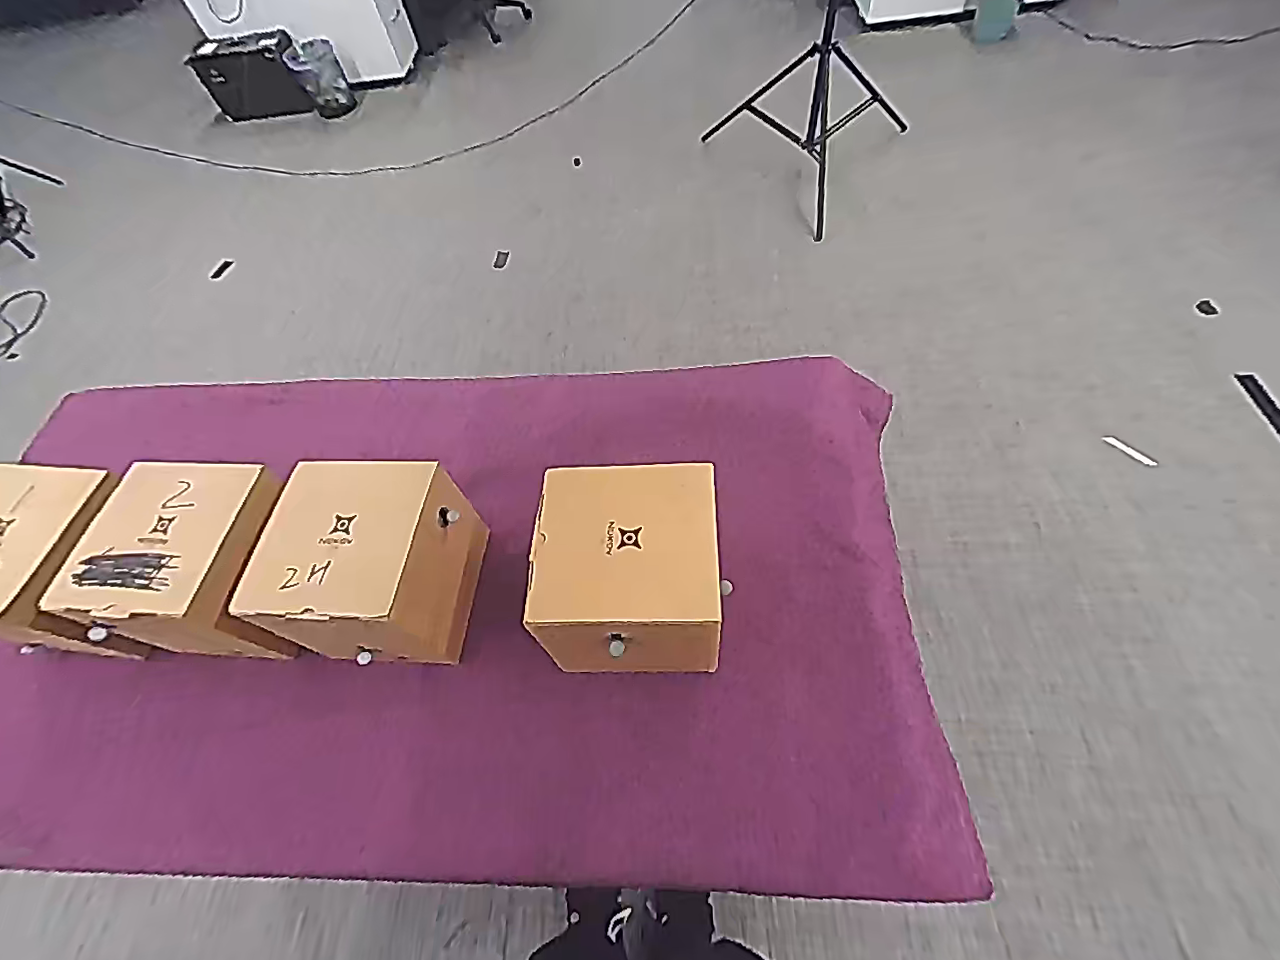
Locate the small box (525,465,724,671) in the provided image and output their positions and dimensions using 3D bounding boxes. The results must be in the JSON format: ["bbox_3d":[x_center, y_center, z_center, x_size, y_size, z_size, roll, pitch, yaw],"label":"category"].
[{"bbox_3d":[-0.005,0.100,0.577,0.179,0.176,0.168,-3,57,6],"label":"small box"}]
